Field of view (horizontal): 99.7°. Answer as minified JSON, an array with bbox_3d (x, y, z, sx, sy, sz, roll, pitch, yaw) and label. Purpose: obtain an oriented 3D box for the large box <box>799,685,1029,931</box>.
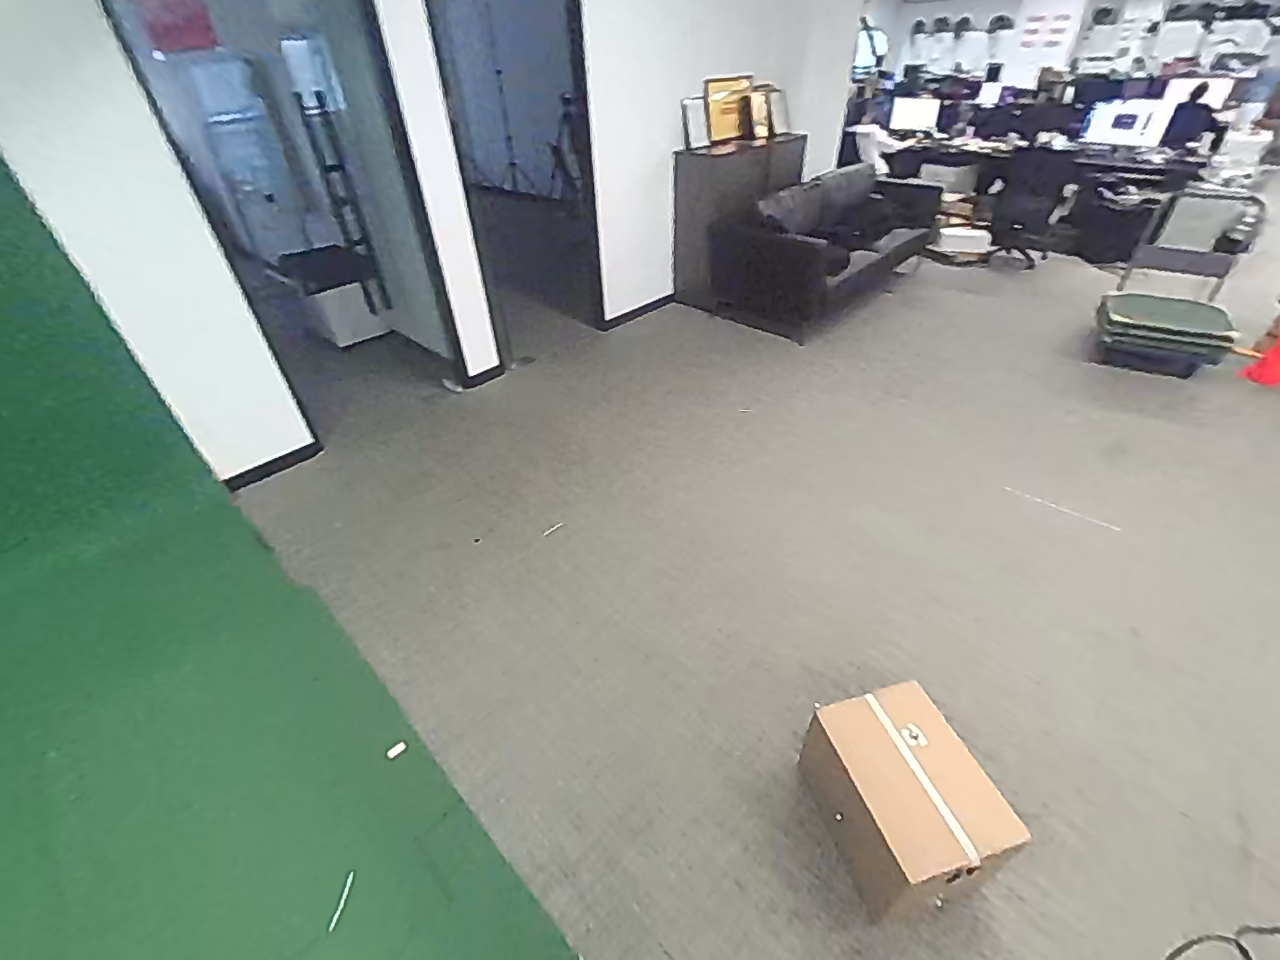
[{"bbox_3d":[0.656,0.821,1.383,0.320,0.320,0.408,-11,37,-11],"label":"large box"}]
